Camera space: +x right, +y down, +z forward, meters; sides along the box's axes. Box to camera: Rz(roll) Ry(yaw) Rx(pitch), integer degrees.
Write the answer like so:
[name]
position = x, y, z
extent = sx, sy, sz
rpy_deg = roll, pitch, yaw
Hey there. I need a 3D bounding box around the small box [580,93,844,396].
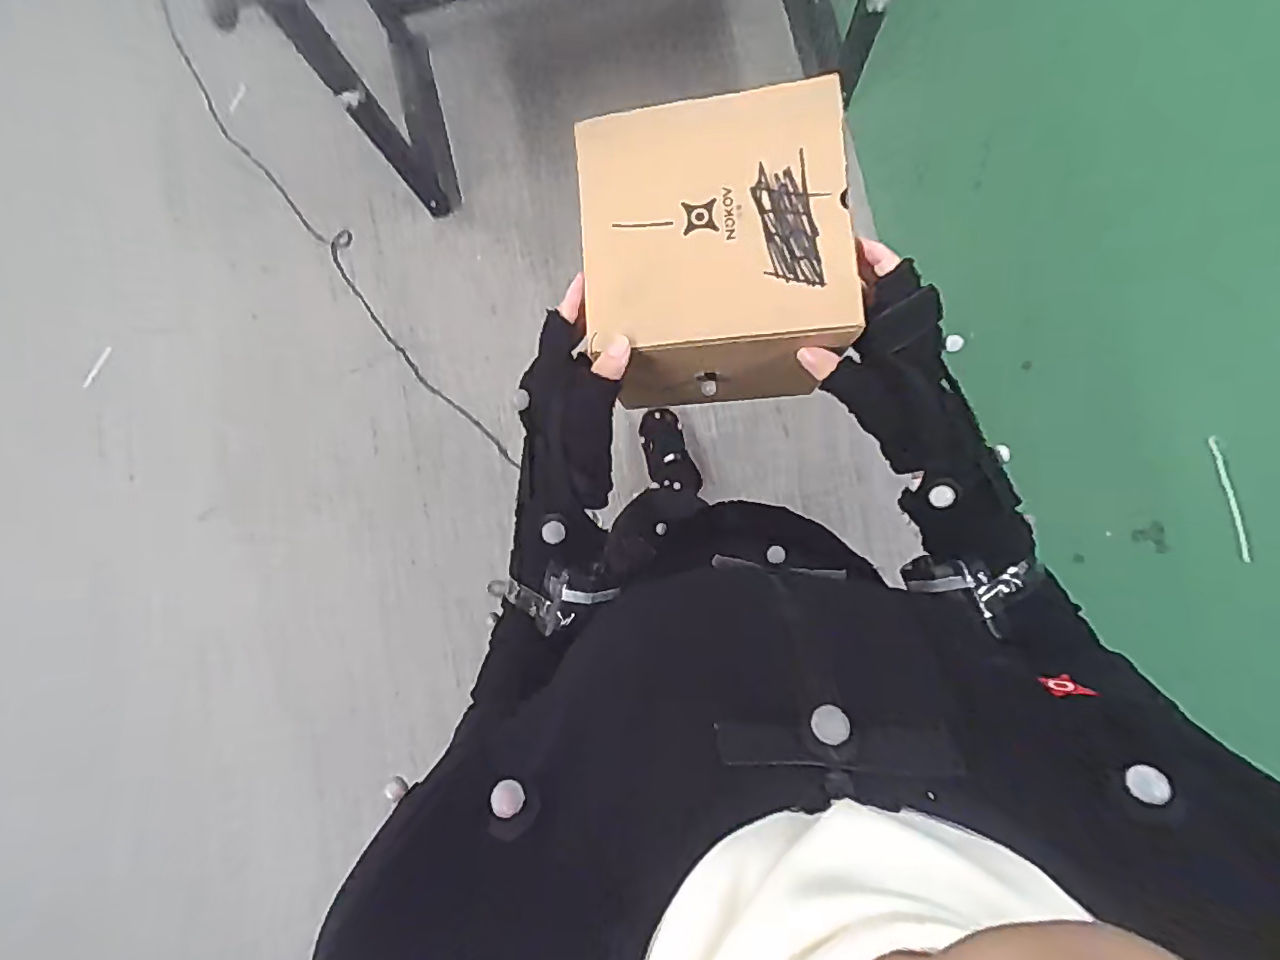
[small box]
position = 0.055, -0.172, 0.449
extent = 0.179, 0.176, 0.168
rpy_deg = -3, 84, 7
